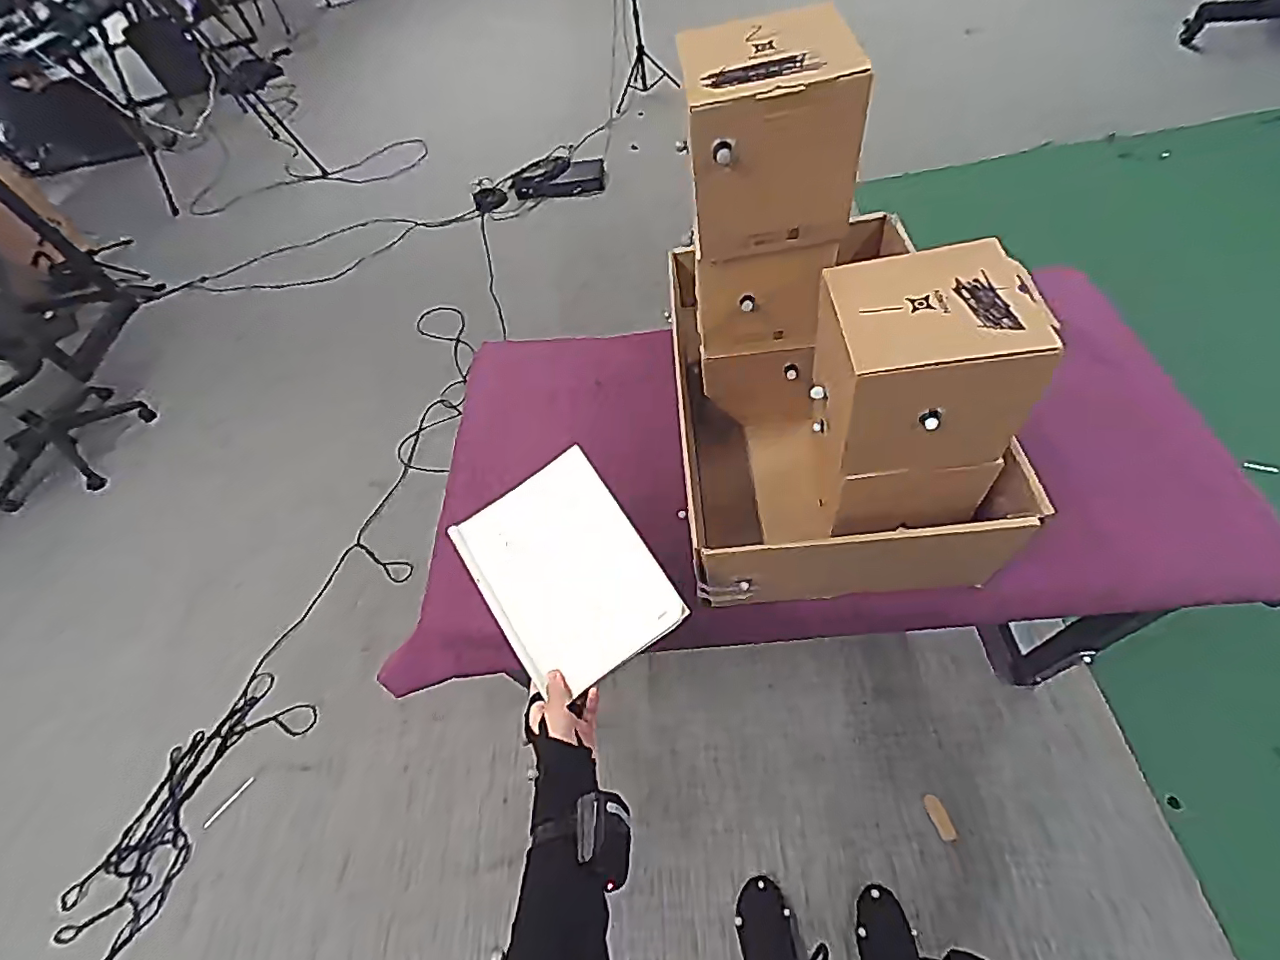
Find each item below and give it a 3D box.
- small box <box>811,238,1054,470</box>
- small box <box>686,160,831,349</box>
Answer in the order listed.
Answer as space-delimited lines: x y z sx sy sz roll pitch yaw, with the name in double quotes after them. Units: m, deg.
0.293 -0.129 0.591 0.179 0.176 0.168 -7 54 10 "small box"
0.156 -0.297 0.742 0.168 0.176 0.179 -6 57 8 "small box"
